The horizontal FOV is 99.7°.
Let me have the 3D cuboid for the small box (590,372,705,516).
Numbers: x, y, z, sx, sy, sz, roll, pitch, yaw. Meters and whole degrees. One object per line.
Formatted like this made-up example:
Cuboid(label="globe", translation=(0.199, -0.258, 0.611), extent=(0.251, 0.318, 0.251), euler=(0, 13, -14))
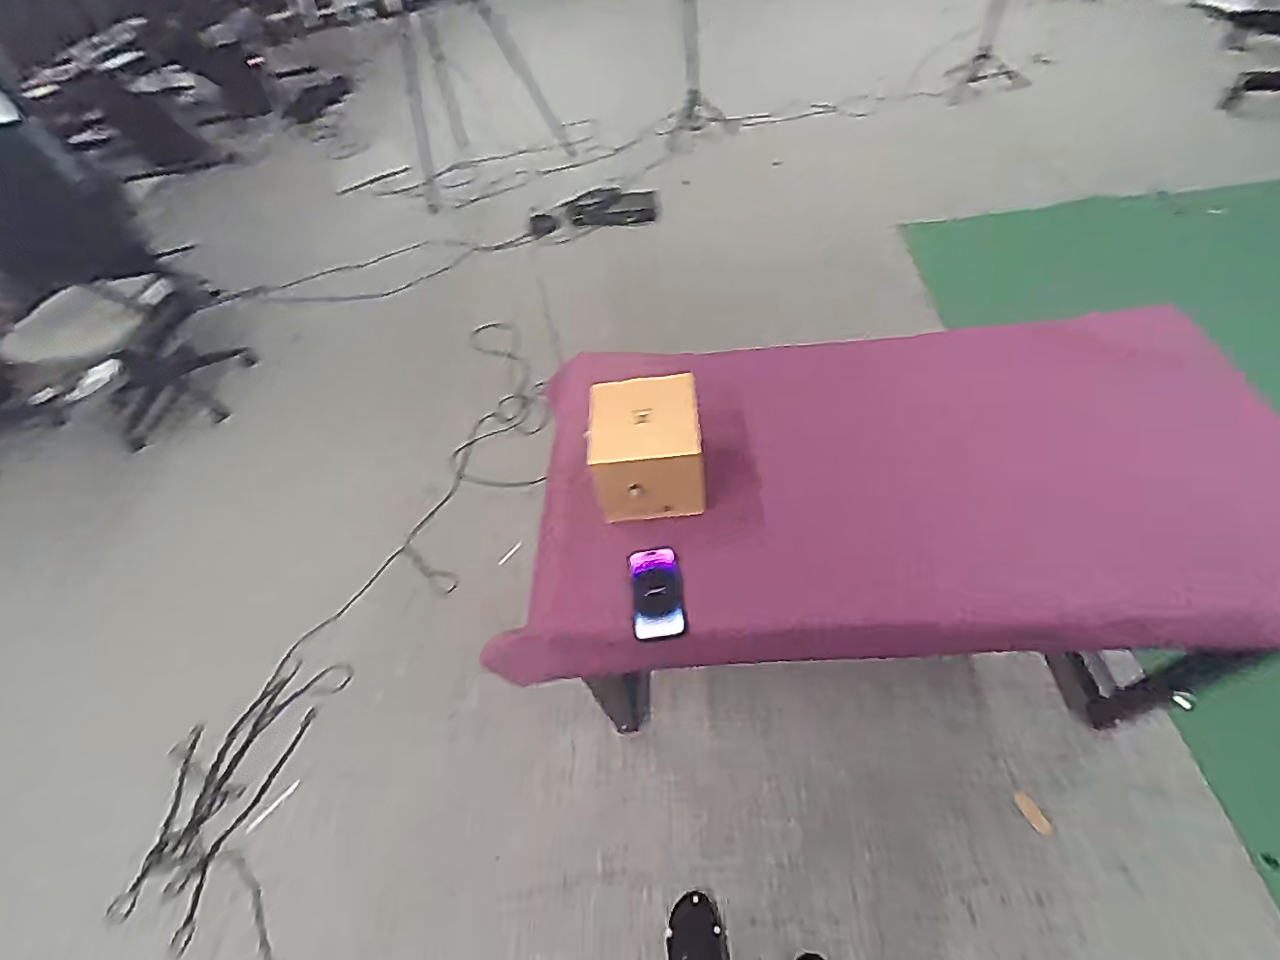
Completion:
Cuboid(label="small box", translation=(0.017, -0.051, 0.902), extent=(0.168, 0.176, 0.179), euler=(-6, 51, 5))
